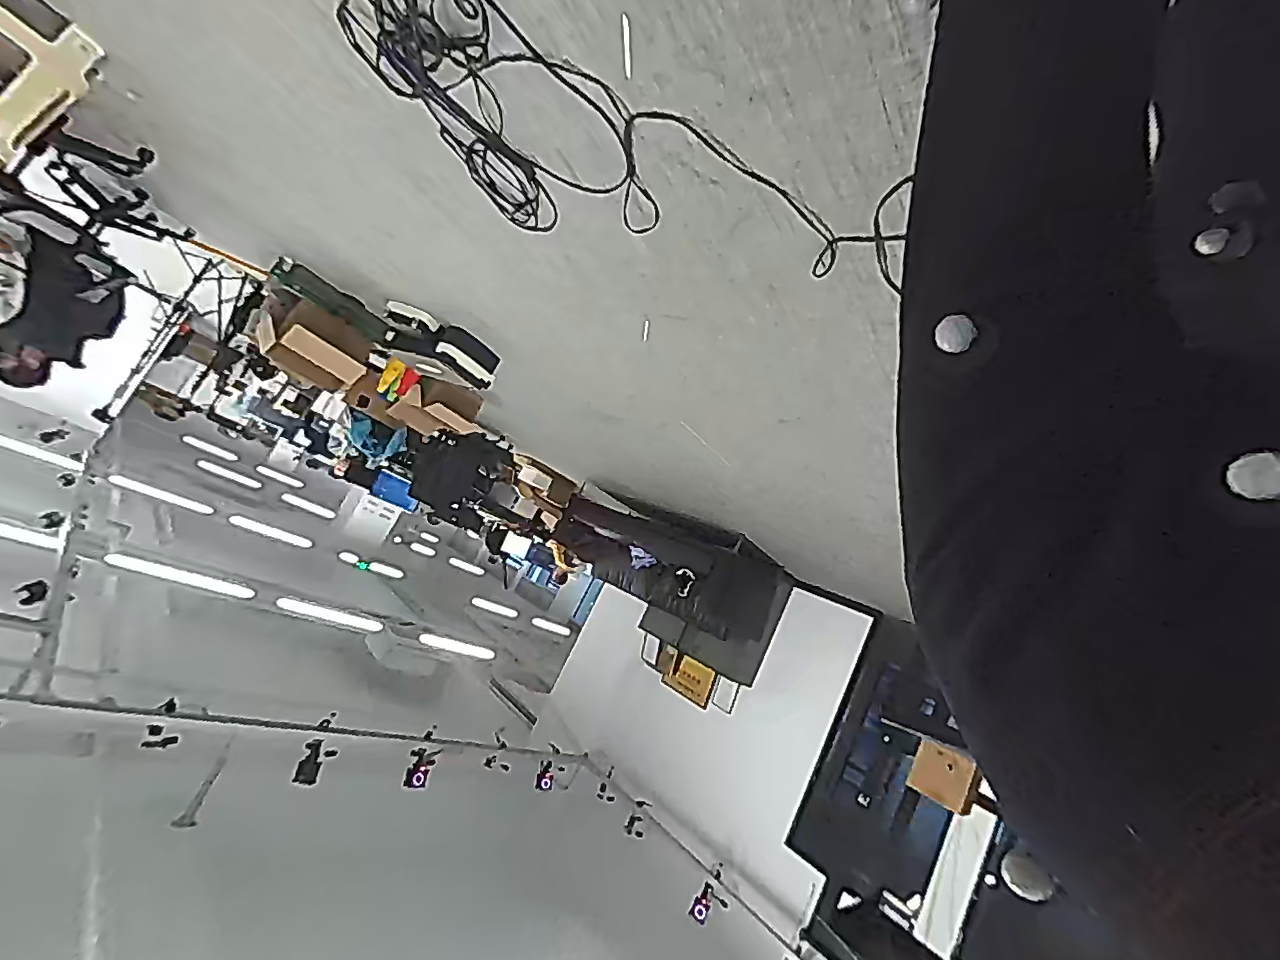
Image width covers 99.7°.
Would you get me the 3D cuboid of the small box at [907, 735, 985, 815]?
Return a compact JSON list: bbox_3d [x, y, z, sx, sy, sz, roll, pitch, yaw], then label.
[{"bbox_3d":[1.012,0.967,1.780,0.168,0.176,0.179,17,166,45],"label":"small box"}]
